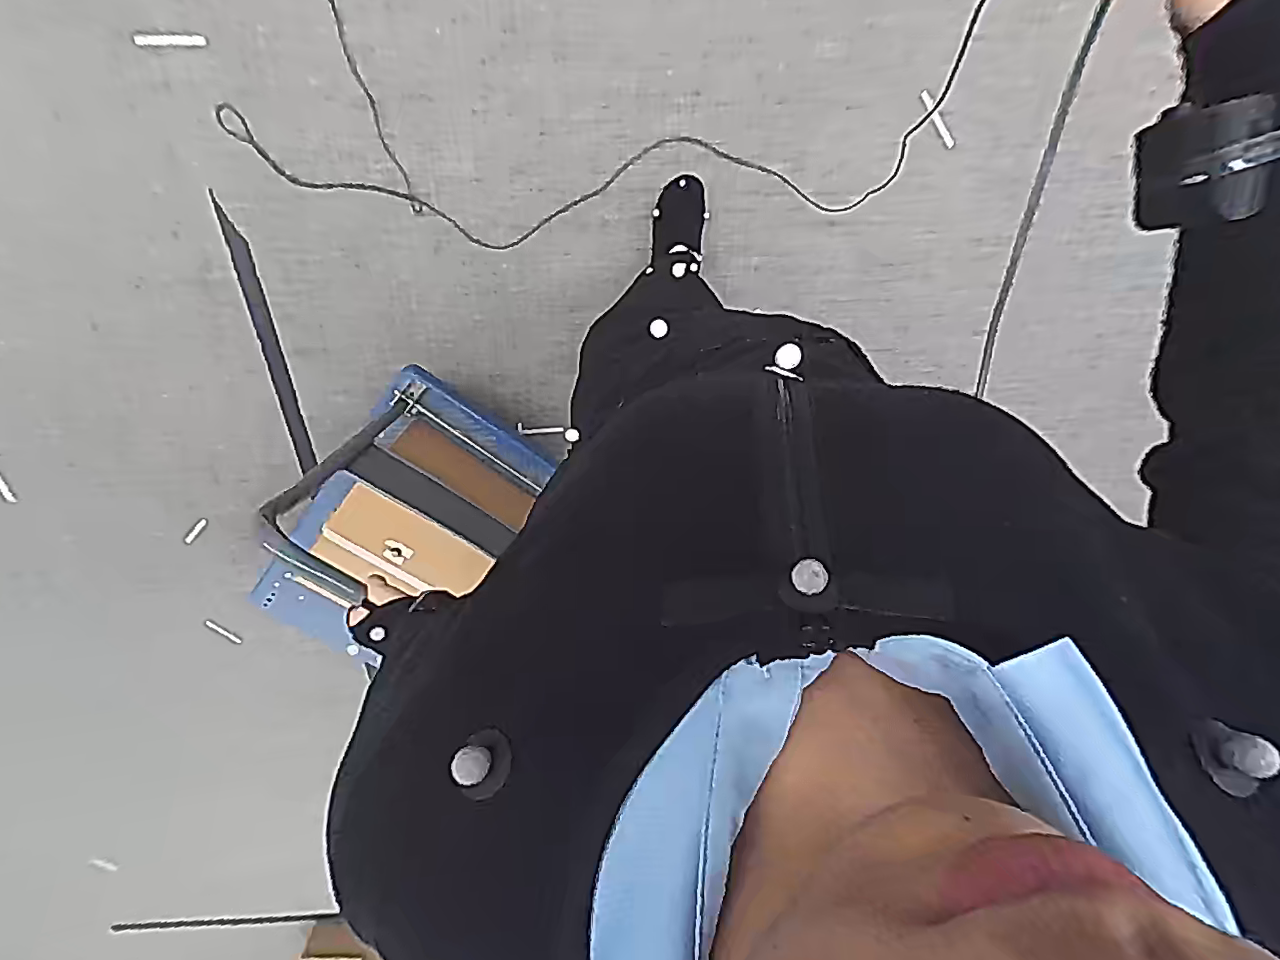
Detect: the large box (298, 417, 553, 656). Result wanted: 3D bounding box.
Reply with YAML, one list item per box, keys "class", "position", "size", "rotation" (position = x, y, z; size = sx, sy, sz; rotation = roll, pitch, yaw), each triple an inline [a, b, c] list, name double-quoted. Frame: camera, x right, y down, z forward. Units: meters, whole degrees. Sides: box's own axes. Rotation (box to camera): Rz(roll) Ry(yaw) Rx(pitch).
- class: "large box"
  position: [-0.466, 0.126, 1.262]
  size: [0.408, 0.320, 0.320]
  rotation: [37, 109, -18]
